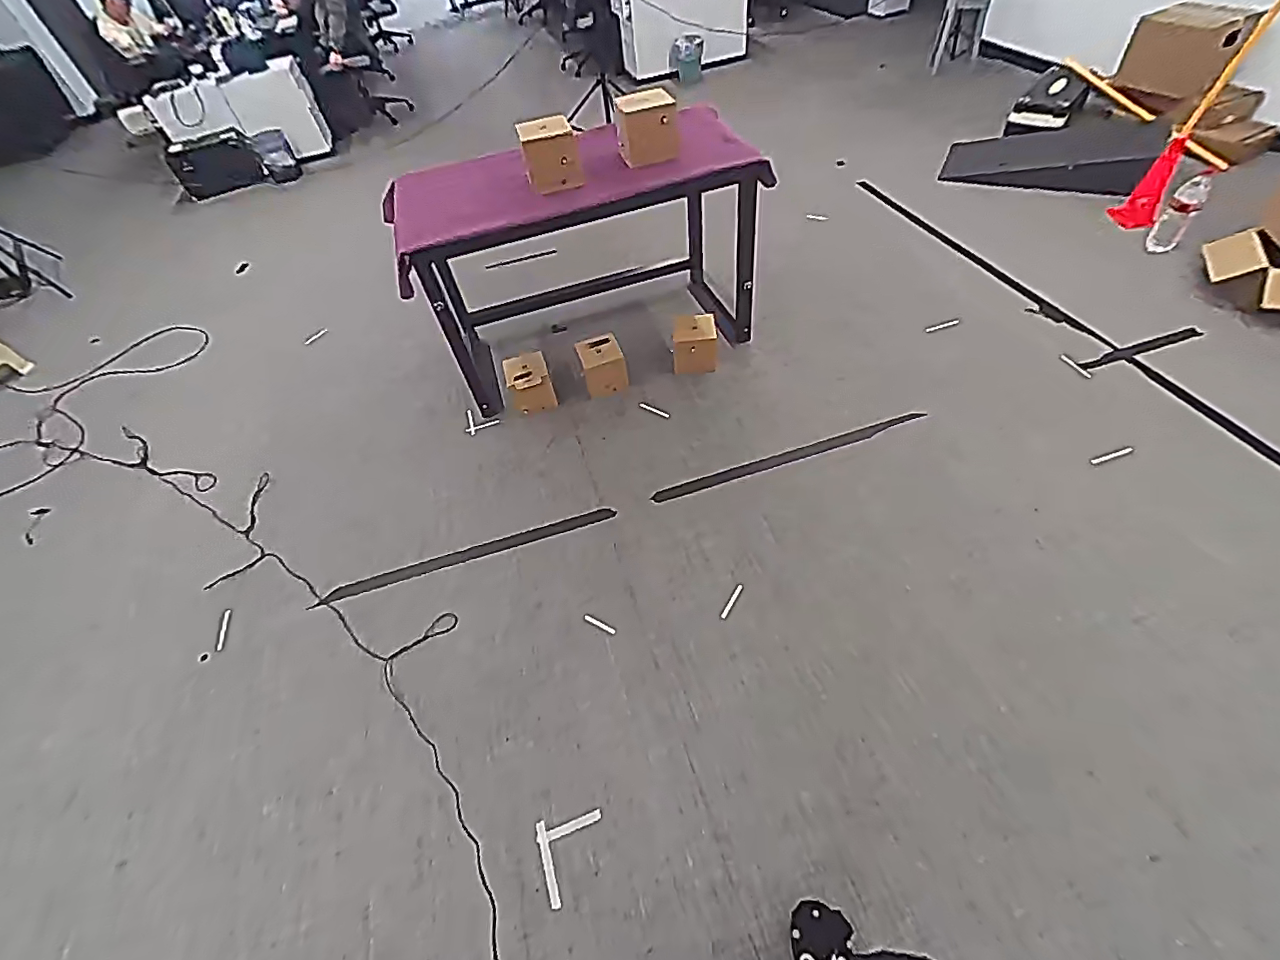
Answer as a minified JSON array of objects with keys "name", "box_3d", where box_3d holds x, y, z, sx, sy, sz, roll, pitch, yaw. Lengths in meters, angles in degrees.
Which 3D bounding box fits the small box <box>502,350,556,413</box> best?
[{"name":"small box","box_3d":[-0.447,-0.392,2.193,0.168,0.176,0.179,-17,50,-5]}]

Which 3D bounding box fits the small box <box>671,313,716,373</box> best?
[{"name":"small box","box_3d":[0.221,-0.565,2.240,0.179,0.176,0.168,-5,52,5]}]

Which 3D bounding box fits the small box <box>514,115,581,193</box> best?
[{"name":"small box","box_3d":[-0.300,-1.063,1.772,0.168,0.176,0.179,-16,49,-6]}]

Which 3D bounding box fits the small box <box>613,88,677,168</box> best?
[{"name":"small box","box_3d":[0.021,-1.188,1.825,0.179,0.176,0.168,-16,50,-5]}]
